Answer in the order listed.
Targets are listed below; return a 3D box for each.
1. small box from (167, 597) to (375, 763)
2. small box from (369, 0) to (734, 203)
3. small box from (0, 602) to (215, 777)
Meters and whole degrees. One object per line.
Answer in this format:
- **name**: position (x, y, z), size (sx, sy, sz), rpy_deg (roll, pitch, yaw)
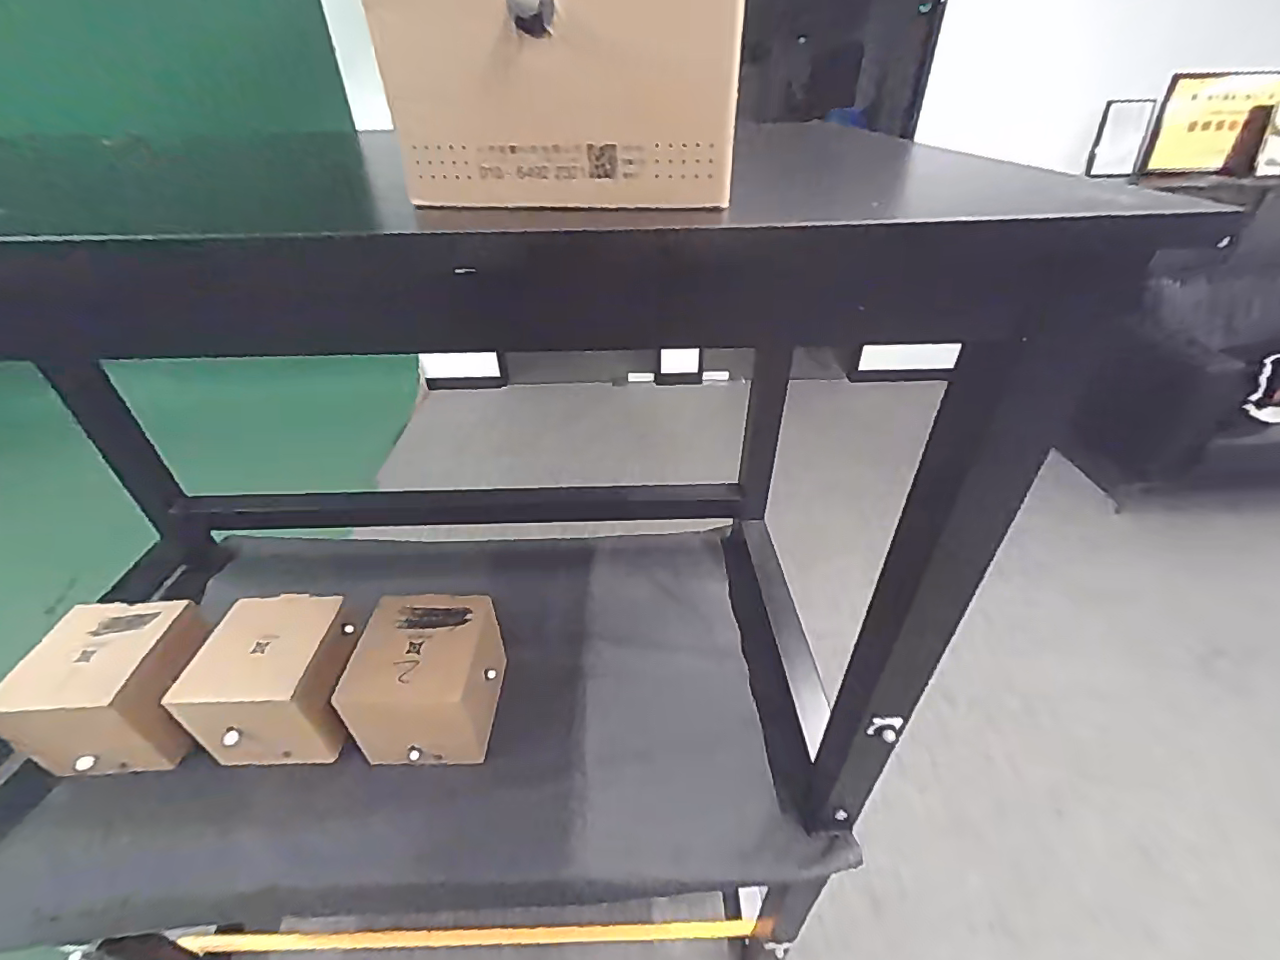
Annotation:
- **small box**: position (-0.519, 0.296, 0.798), size (0.168, 0.176, 0.179), rpy_deg (-1, 35, -1)
- **small box**: position (-0.032, -0.258, 0.298), size (0.168, 0.176, 0.179), rpy_deg (4, 36, 7)
- **small box**: position (-0.746, 0.302, 0.790), size (0.168, 0.176, 0.179), rpy_deg (-3, 36, -2)
